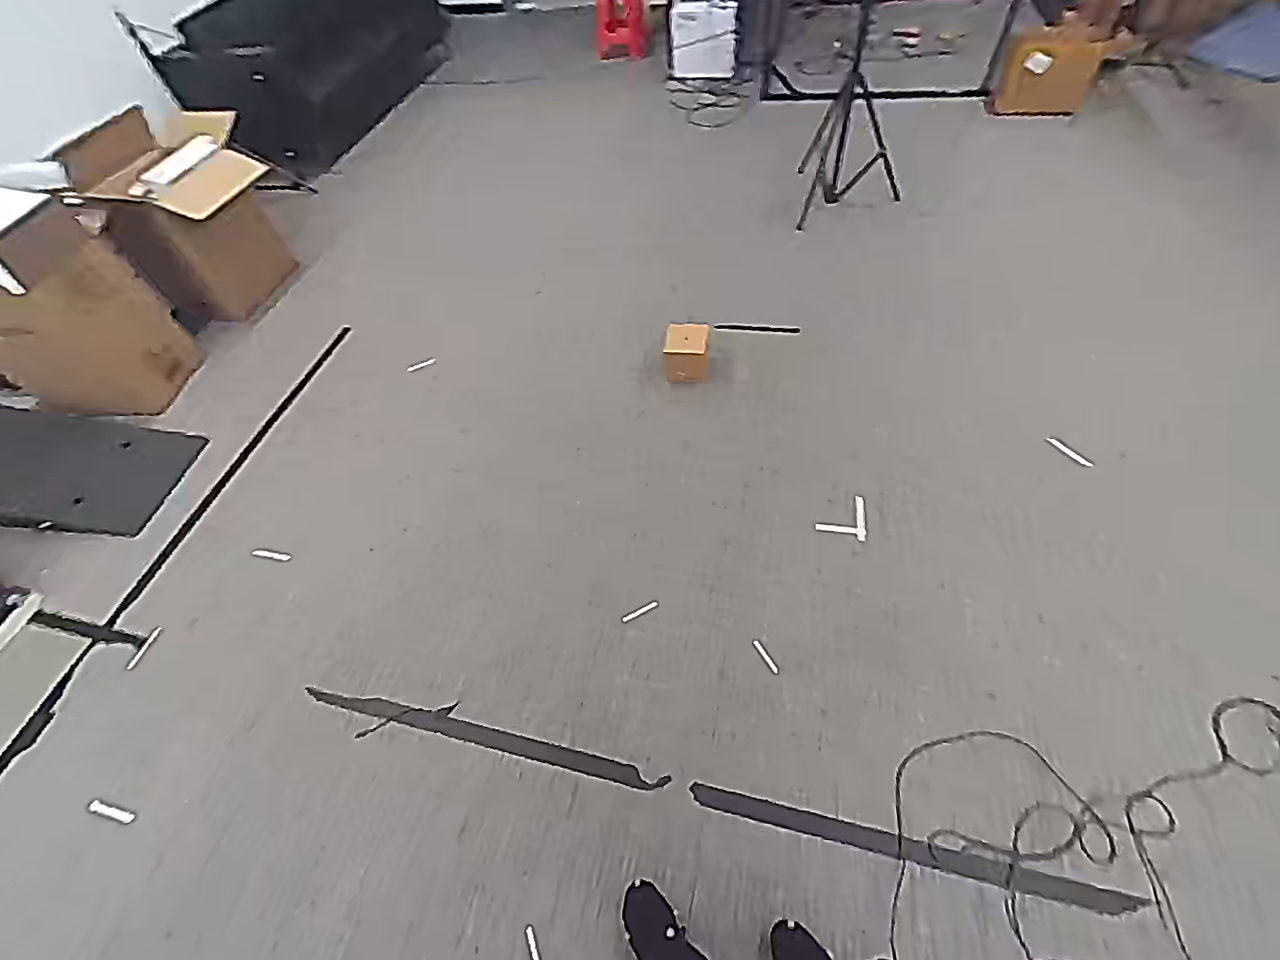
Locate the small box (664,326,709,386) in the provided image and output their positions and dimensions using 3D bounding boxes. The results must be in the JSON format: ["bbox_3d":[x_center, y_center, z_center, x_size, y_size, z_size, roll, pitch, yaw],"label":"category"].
[{"bbox_3d":[0.194,-0.514,2.237,0.168,0.176,0.179,4,55,11],"label":"small box"}]
